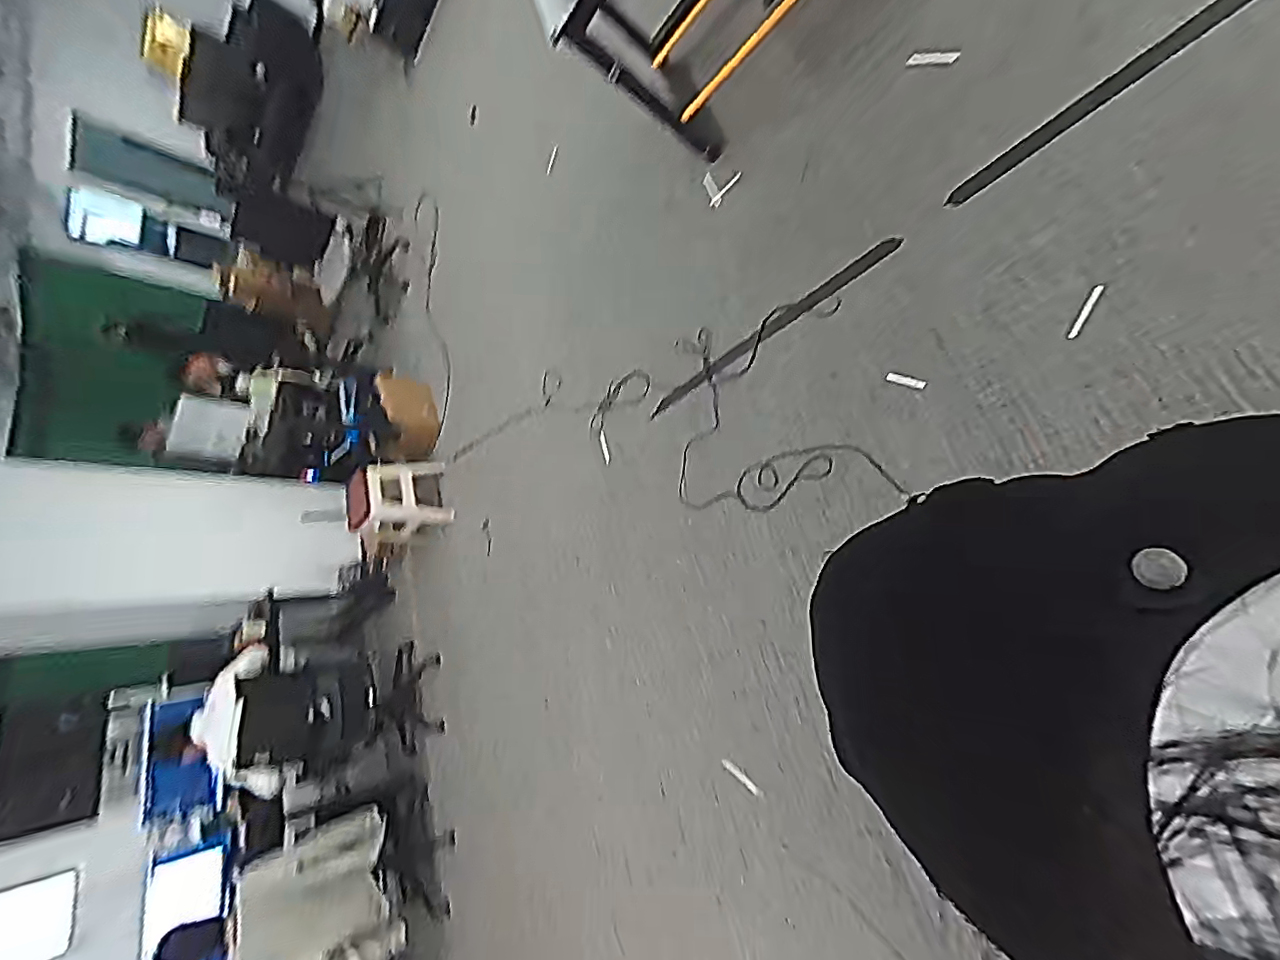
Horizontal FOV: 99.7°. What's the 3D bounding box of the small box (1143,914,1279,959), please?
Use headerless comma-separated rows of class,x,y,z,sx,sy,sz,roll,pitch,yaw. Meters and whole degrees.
small box,0.711,0.630,0.601,0.168,0.176,0.179,-32,62,38
